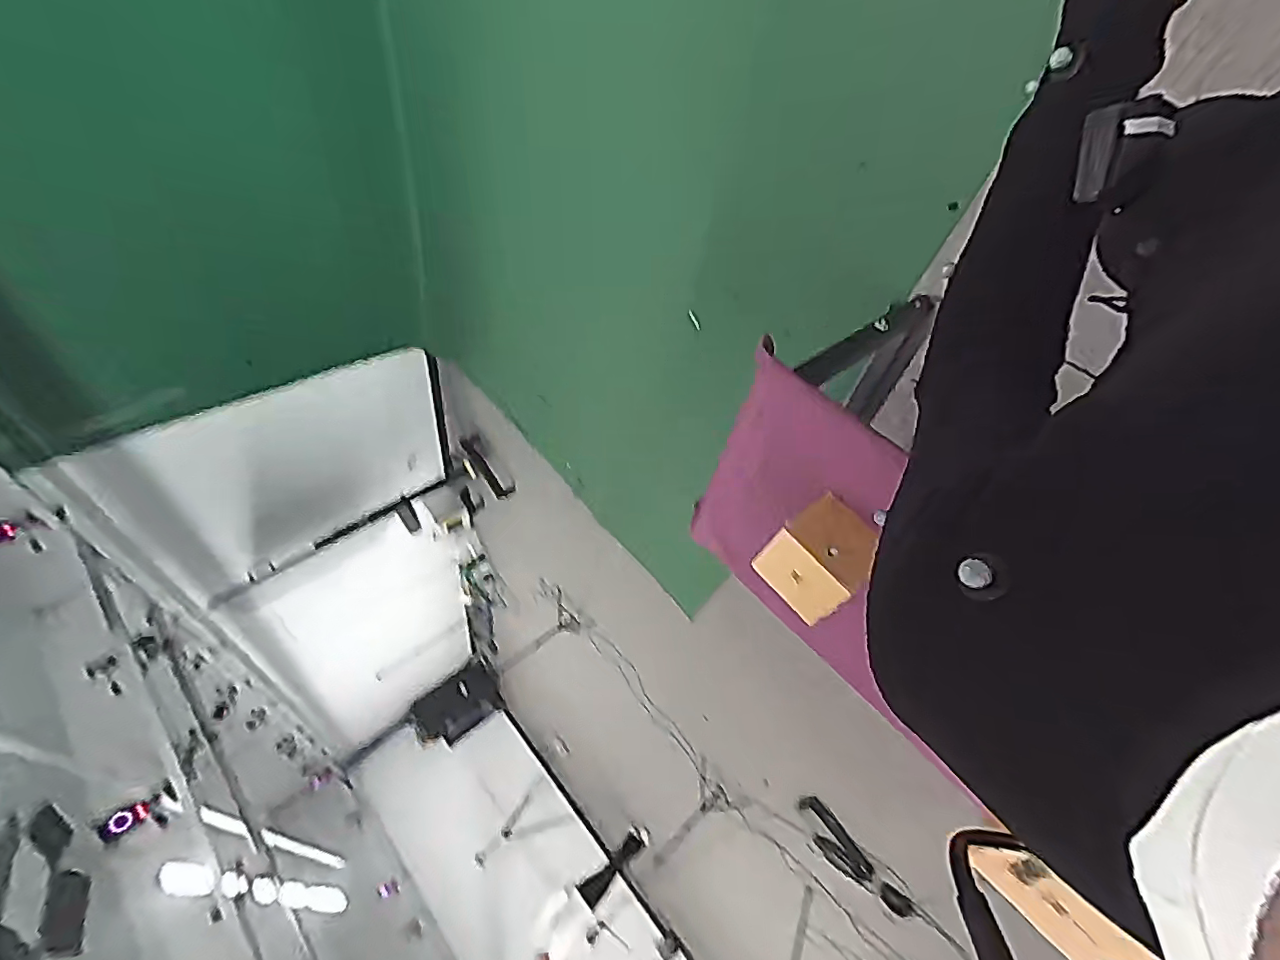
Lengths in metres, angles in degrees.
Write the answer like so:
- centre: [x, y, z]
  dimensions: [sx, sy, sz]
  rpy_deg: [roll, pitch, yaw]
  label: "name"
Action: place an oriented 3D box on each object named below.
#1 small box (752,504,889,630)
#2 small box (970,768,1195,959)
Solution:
- centre: [0.375, 0.172, 1.129]
  dimensions: [0.179, 0.176, 0.168]
  rpy_deg: [45, 144, 17]
  label: "small box"
- centre: [0.637, 0.554, 0.786]
  dimensions: [0.179, 0.176, 0.168]
  rpy_deg: [41, 143, 24]
  label: "small box"
